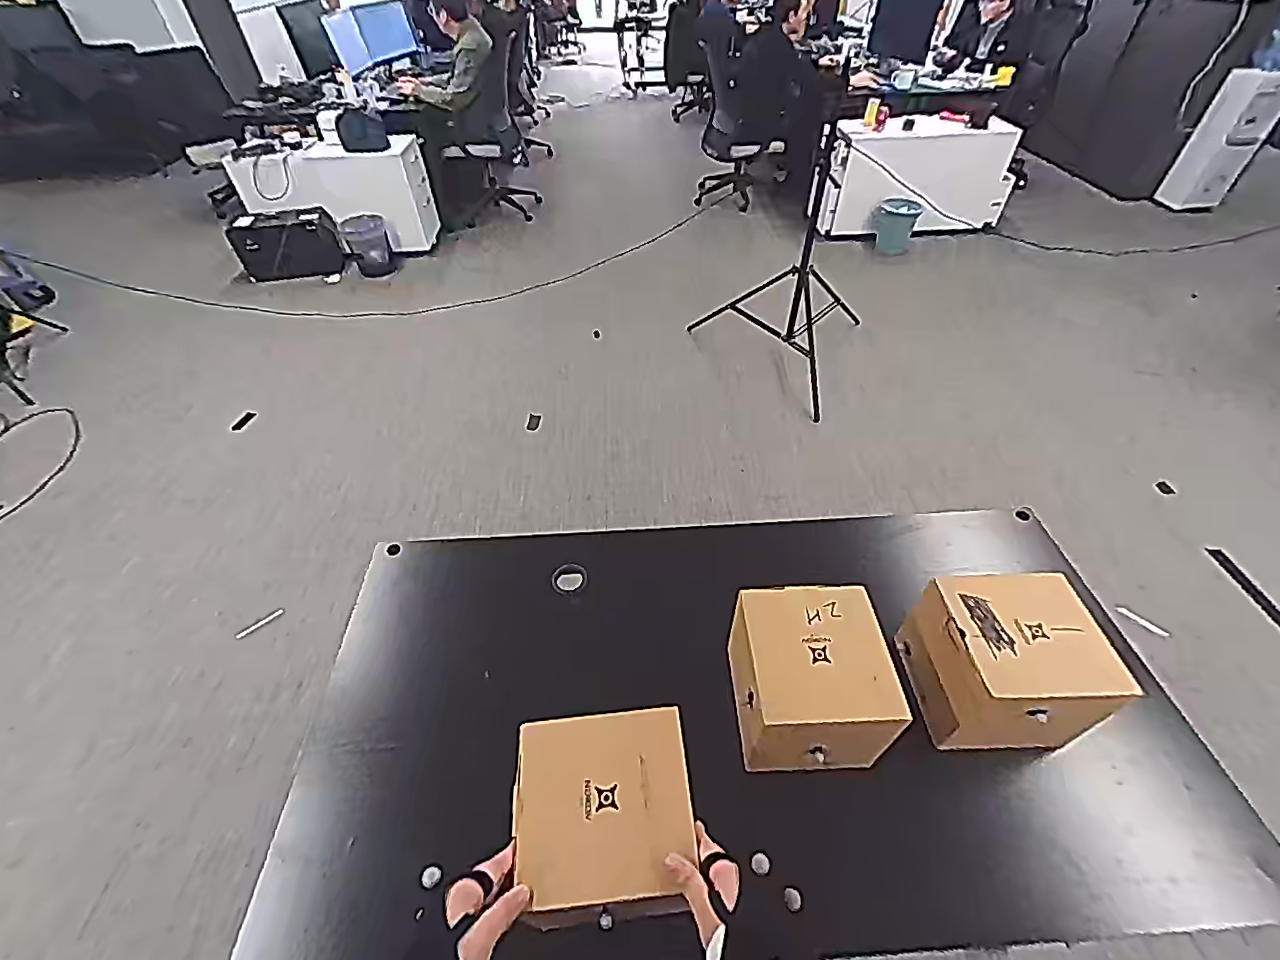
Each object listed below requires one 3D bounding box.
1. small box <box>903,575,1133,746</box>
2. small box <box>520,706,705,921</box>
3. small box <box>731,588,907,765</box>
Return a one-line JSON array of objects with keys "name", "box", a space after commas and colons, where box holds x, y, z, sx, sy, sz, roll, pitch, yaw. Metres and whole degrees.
[{"name": "small box", "box": [0.479, 0.245, 0.729, 0.179, 0.176, 0.168, -1, 46, 0]}, {"name": "small box", "box": [-0.028, 0.375, 0.607, 0.179, 0.176, 0.168, -6, 48, -3]}, {"name": "small box", "box": [0.220, 0.265, 0.718, 0.168, 0.176, 0.179, -2, 45, 0]}]
